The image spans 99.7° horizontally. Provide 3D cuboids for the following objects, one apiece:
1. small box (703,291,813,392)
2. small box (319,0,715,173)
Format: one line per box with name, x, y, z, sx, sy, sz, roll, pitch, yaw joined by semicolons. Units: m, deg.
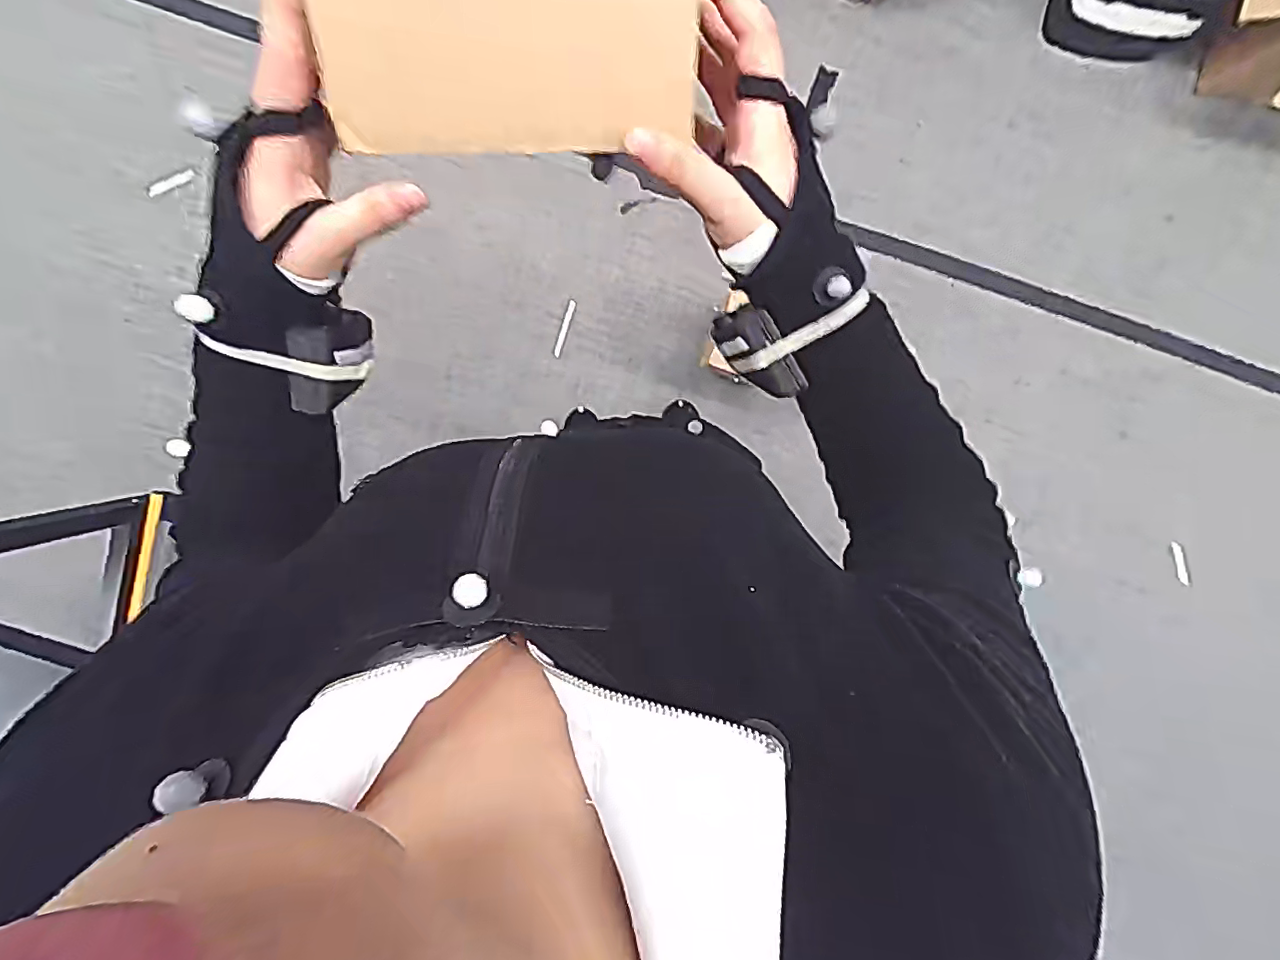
small box;0.248;-0.296;1.195;0.179;0.176;0.168;18;99;-3
small box;-0.061;-0.270;0.294;0.179;0.176;0.168;-4;125;-5
